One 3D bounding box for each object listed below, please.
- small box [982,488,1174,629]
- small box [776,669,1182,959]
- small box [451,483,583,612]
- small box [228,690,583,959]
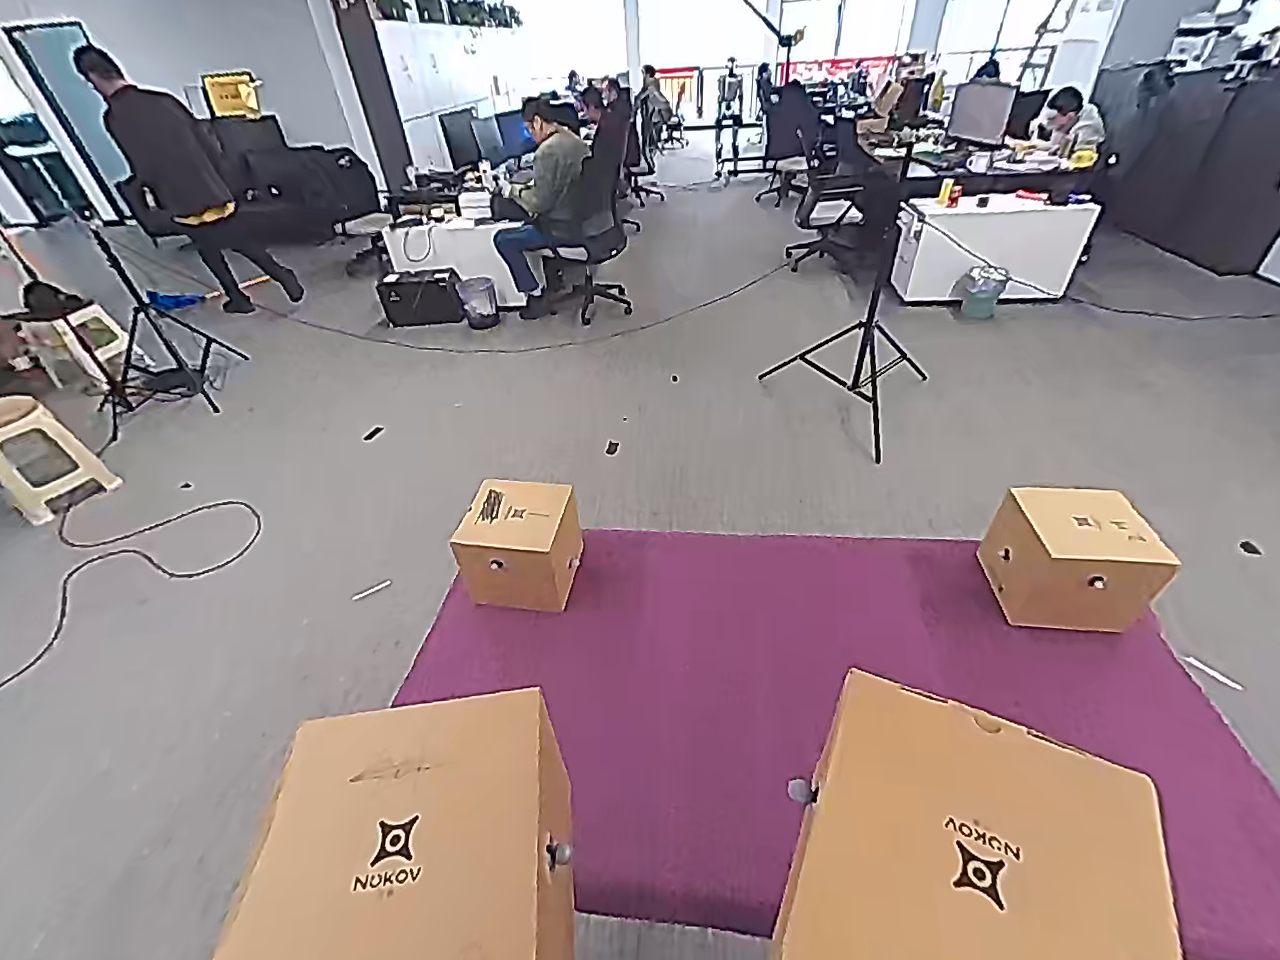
[{"bbox_3d":[0.704,0.131,0.904,0.179,0.176,0.168,2,40,7],"label":"small box"},{"bbox_3d":[0.188,0.262,0.338,0.168,0.176,0.179,15,44,23],"label":"small box"},{"bbox_3d":[-0.215,0.125,0.996,0.179,0.176,0.168,4,41,8],"label":"small box"},{"bbox_3d":[-0.130,0.274,0.362,0.168,0.176,0.179,-7,39,-5],"label":"small box"}]
